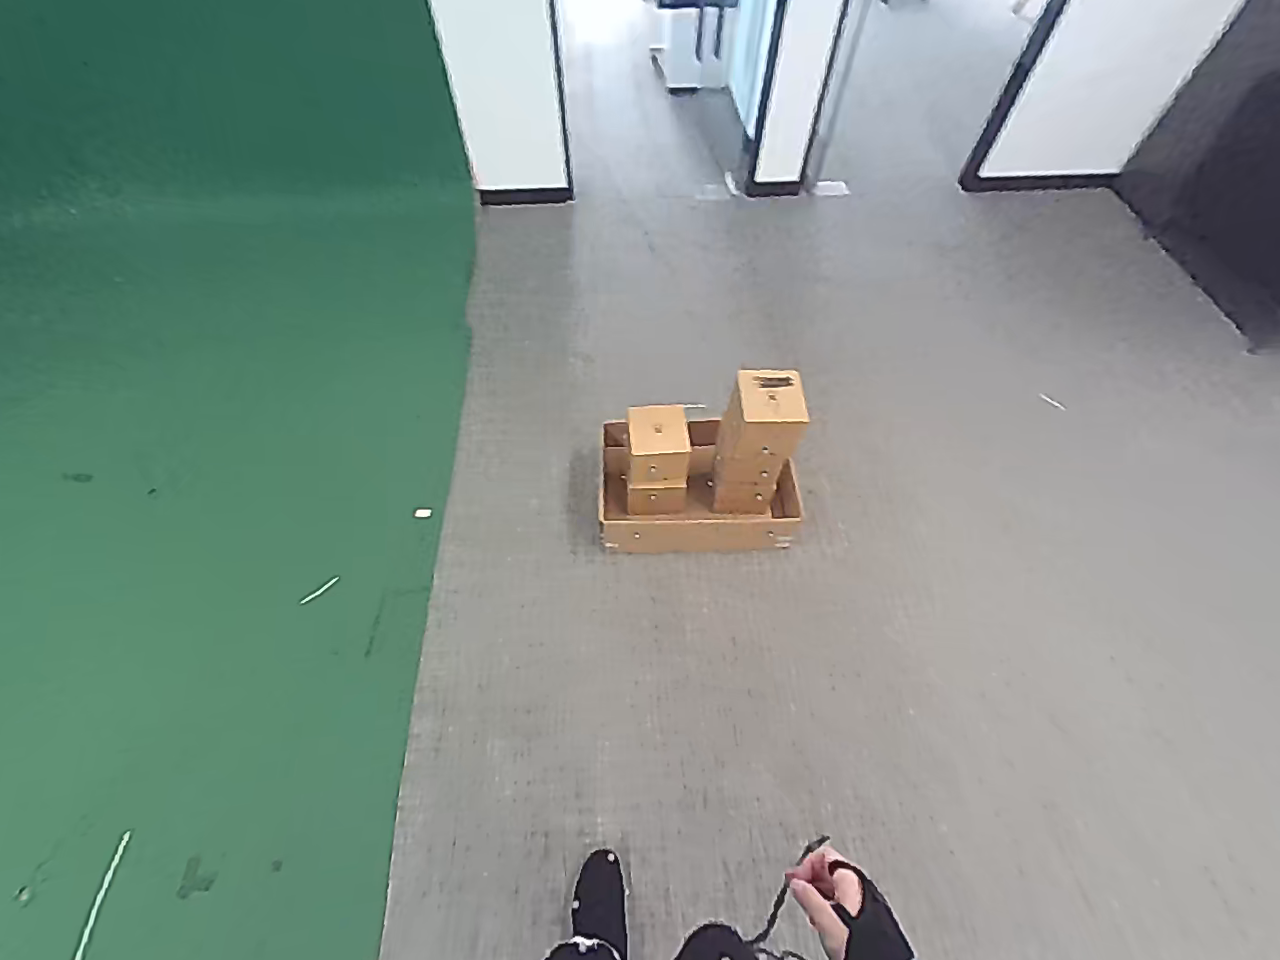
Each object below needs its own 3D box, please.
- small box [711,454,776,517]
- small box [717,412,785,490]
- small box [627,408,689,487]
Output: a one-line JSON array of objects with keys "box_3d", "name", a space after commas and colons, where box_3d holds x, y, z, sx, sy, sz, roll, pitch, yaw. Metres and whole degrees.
[{"box_3d": [0.328, 0.010, 1.739, 0.179, 0.176, 0.168, 1, 57, 2], "name": "small box"}, {"box_3d": [0.324, -0.082, 1.605, 0.168, 0.176, 0.179, 2, 56, 0], "name": "small box"}, {"box_3d": [0.051, -0.089, 1.608, 0.168, 0.176, 0.179, -4, 56, -4], "name": "small box"}]
